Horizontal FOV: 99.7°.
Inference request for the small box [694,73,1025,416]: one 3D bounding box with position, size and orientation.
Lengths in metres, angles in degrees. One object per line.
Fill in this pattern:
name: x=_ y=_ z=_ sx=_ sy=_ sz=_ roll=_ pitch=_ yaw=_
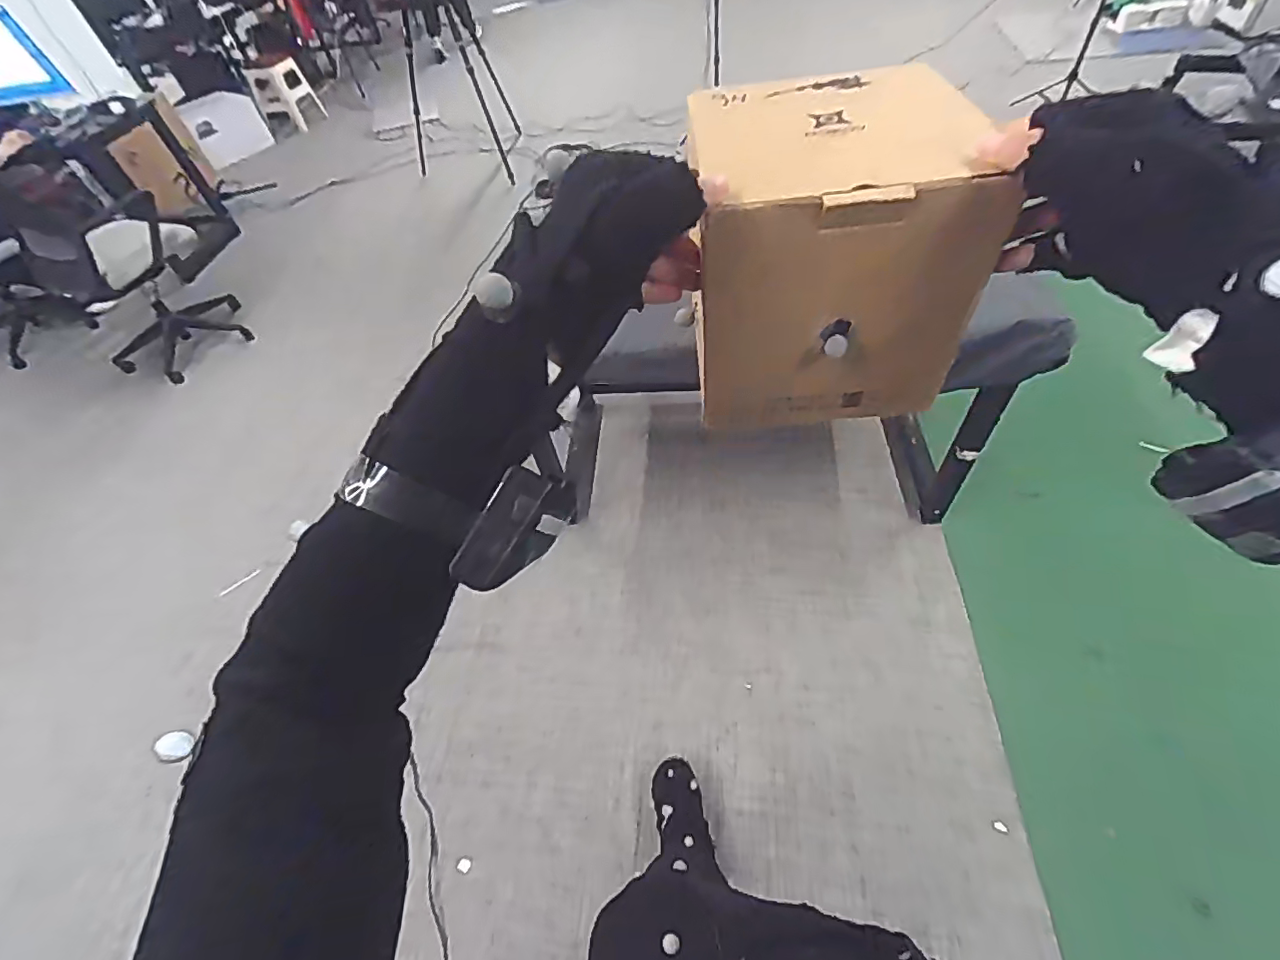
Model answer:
small box: x=0.127 y=-0.159 z=0.394 sx=0.168 sy=0.176 sz=0.179 roll=-3 pitch=52 yaw=5
